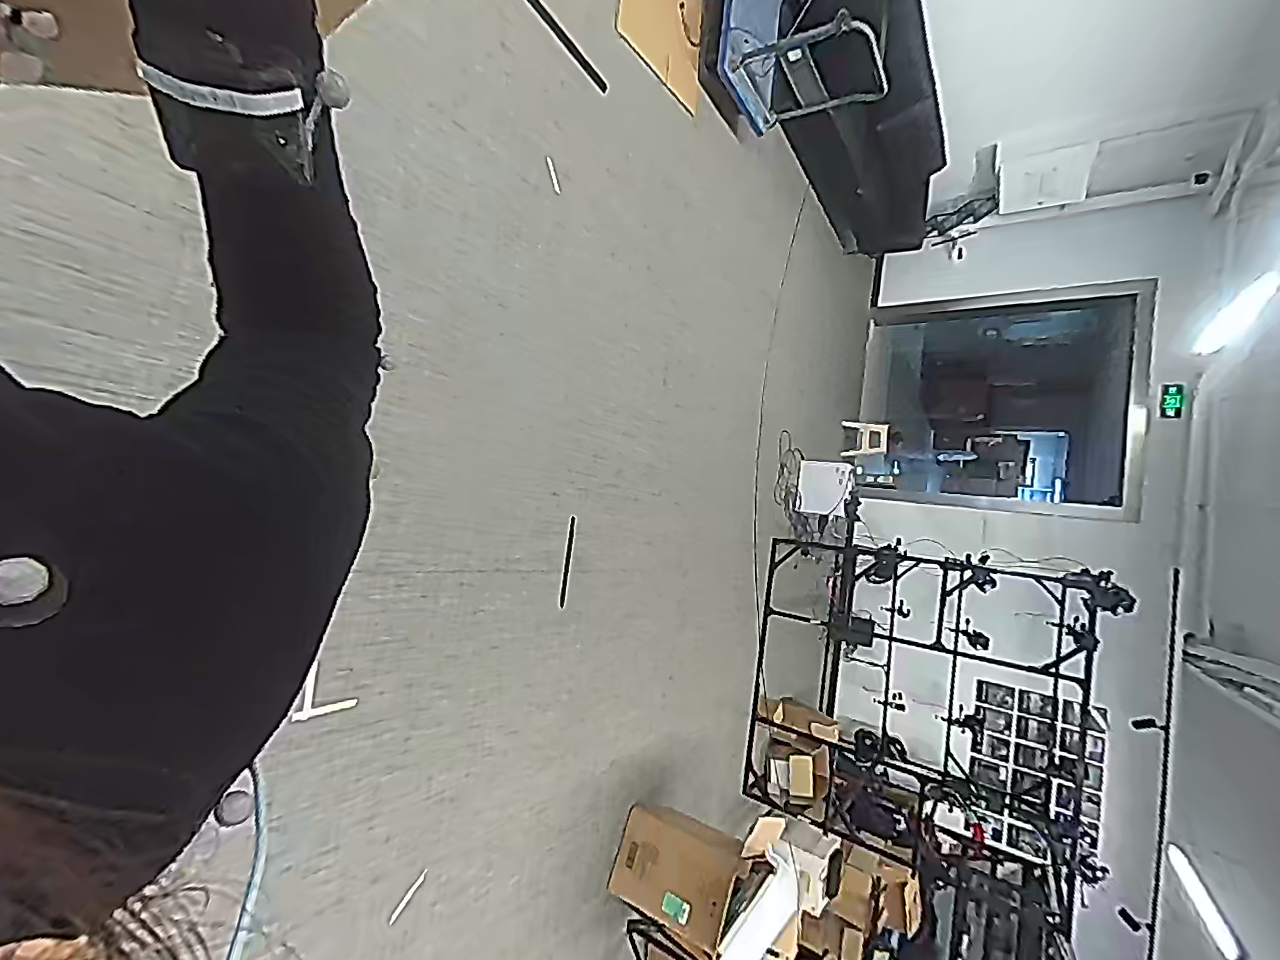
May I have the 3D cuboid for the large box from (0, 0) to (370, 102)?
[{"bbox_3d":[-0.346,-0.454,0.227,0.320,0.320,0.408,-42,122,-51],"label":"large box"}]
